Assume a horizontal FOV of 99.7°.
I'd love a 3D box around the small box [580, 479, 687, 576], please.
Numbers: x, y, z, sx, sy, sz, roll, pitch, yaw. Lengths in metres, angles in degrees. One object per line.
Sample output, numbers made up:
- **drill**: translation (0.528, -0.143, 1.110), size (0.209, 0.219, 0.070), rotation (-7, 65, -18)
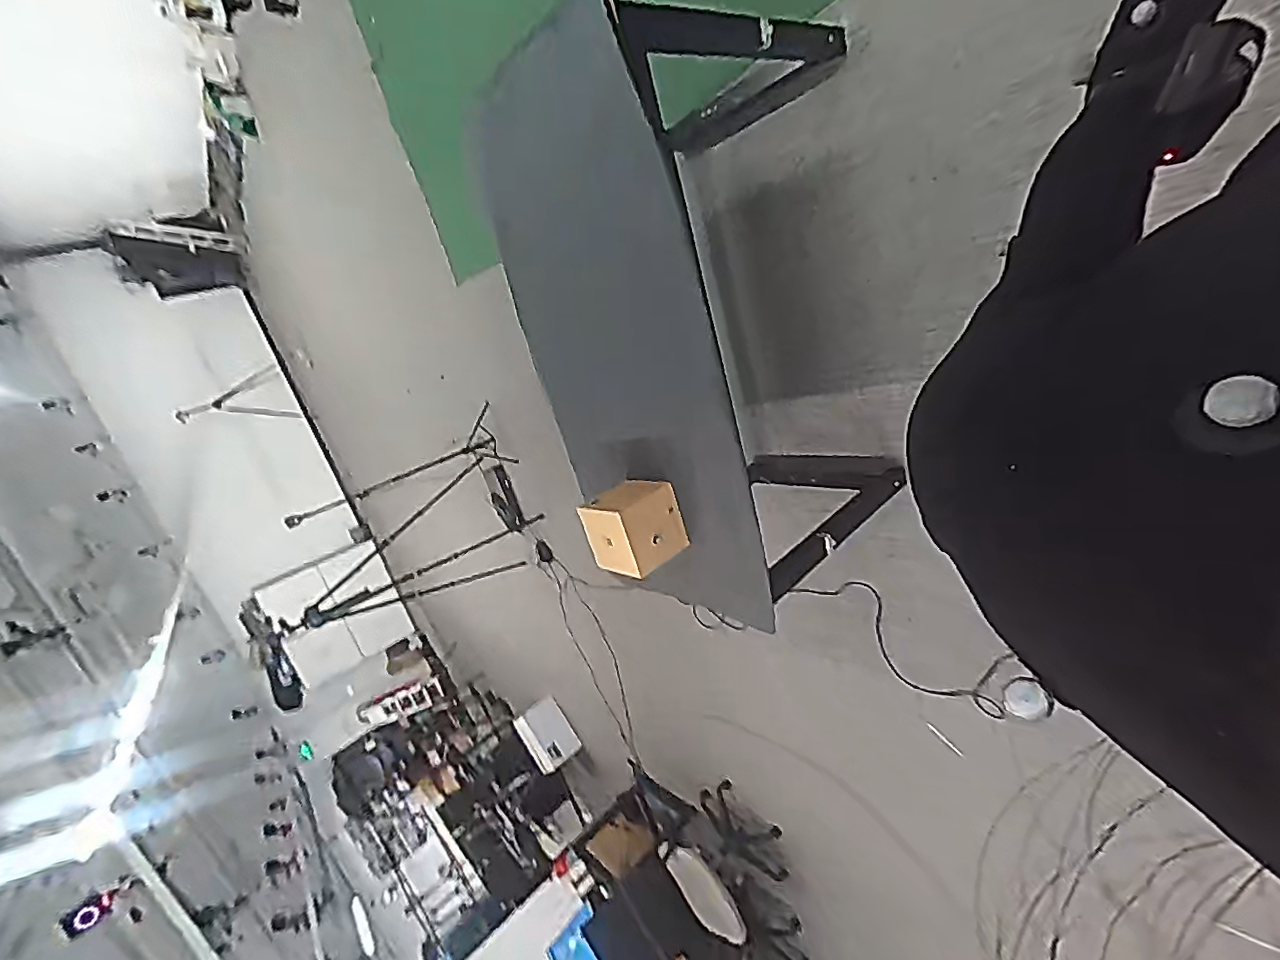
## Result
- **small box**: translation (-0.008, 0.105, 1.288), size (0.179, 0.176, 0.168), rotation (2, 115, 53)
